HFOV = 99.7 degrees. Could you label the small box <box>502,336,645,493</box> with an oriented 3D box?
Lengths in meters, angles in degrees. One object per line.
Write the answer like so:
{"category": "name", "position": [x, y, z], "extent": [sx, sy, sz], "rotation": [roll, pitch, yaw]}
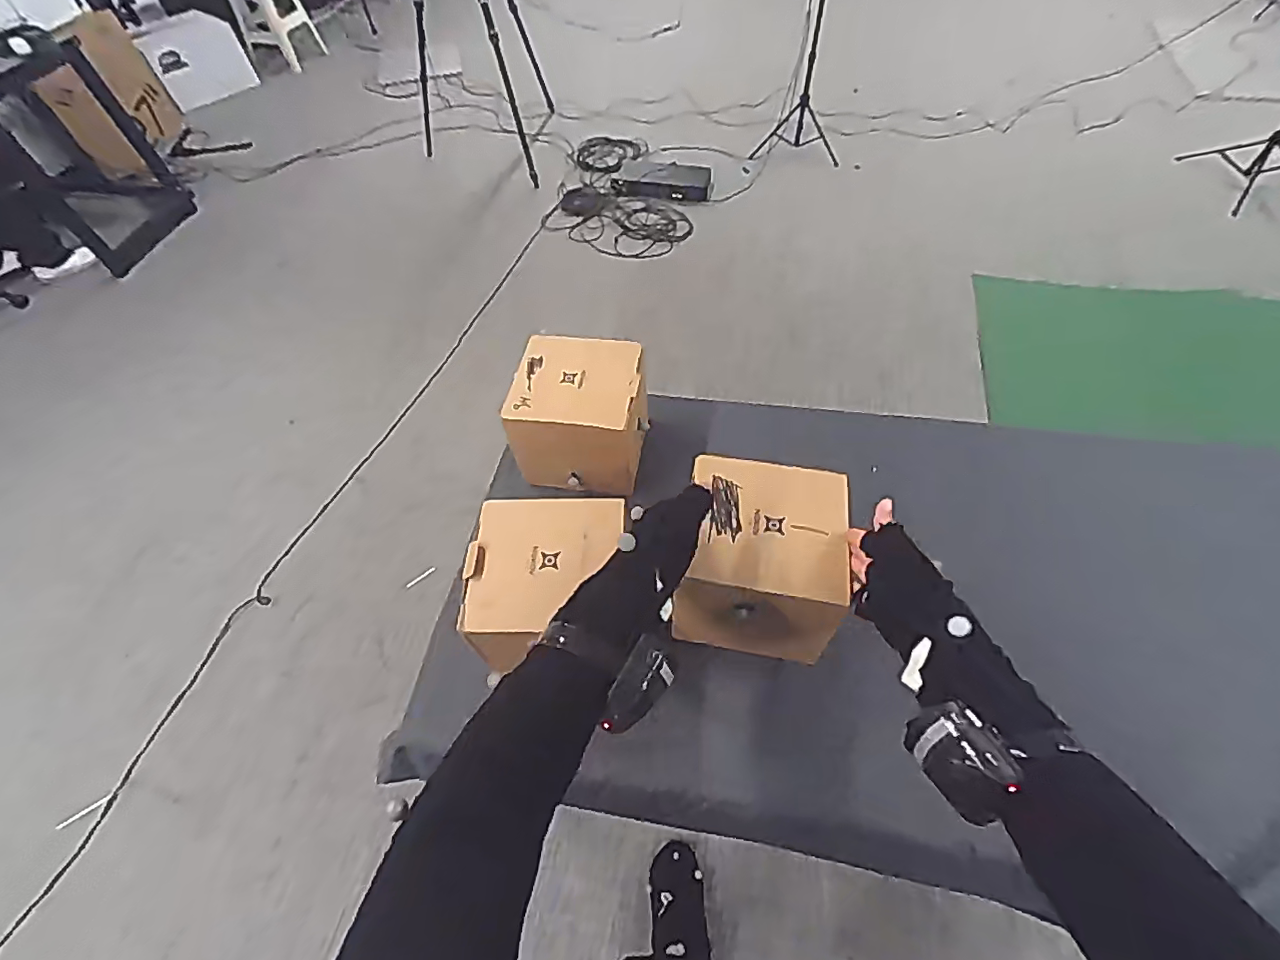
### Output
{"category": "small box", "position": [-0.088, -0.095, 0.834], "extent": [0.179, 0.176, 0.168], "rotation": [7, 57, 6]}

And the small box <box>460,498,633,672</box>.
{"category": "small box", "position": [-0.101, 0.136, 0.678], "extent": [0.179, 0.176, 0.168], "rotation": [0, 56, 1]}
